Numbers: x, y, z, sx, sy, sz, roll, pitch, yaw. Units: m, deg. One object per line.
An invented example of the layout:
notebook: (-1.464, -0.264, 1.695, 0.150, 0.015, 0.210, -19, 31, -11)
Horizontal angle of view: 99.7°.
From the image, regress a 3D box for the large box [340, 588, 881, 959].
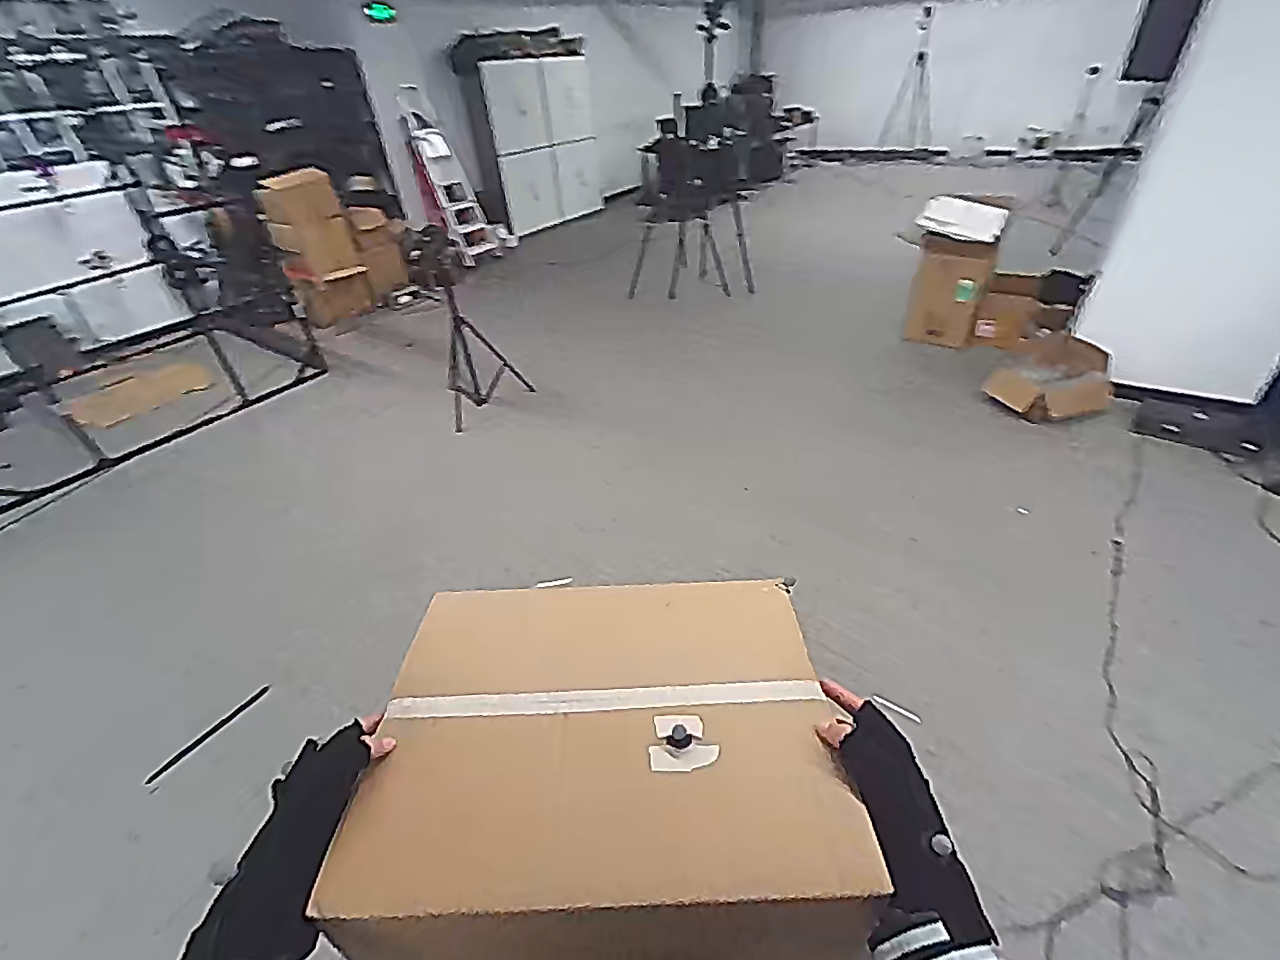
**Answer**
large box: (-0.021, 0.341, 0.592, 0.408, 0.320, 0.320, -1, 32, 1)
